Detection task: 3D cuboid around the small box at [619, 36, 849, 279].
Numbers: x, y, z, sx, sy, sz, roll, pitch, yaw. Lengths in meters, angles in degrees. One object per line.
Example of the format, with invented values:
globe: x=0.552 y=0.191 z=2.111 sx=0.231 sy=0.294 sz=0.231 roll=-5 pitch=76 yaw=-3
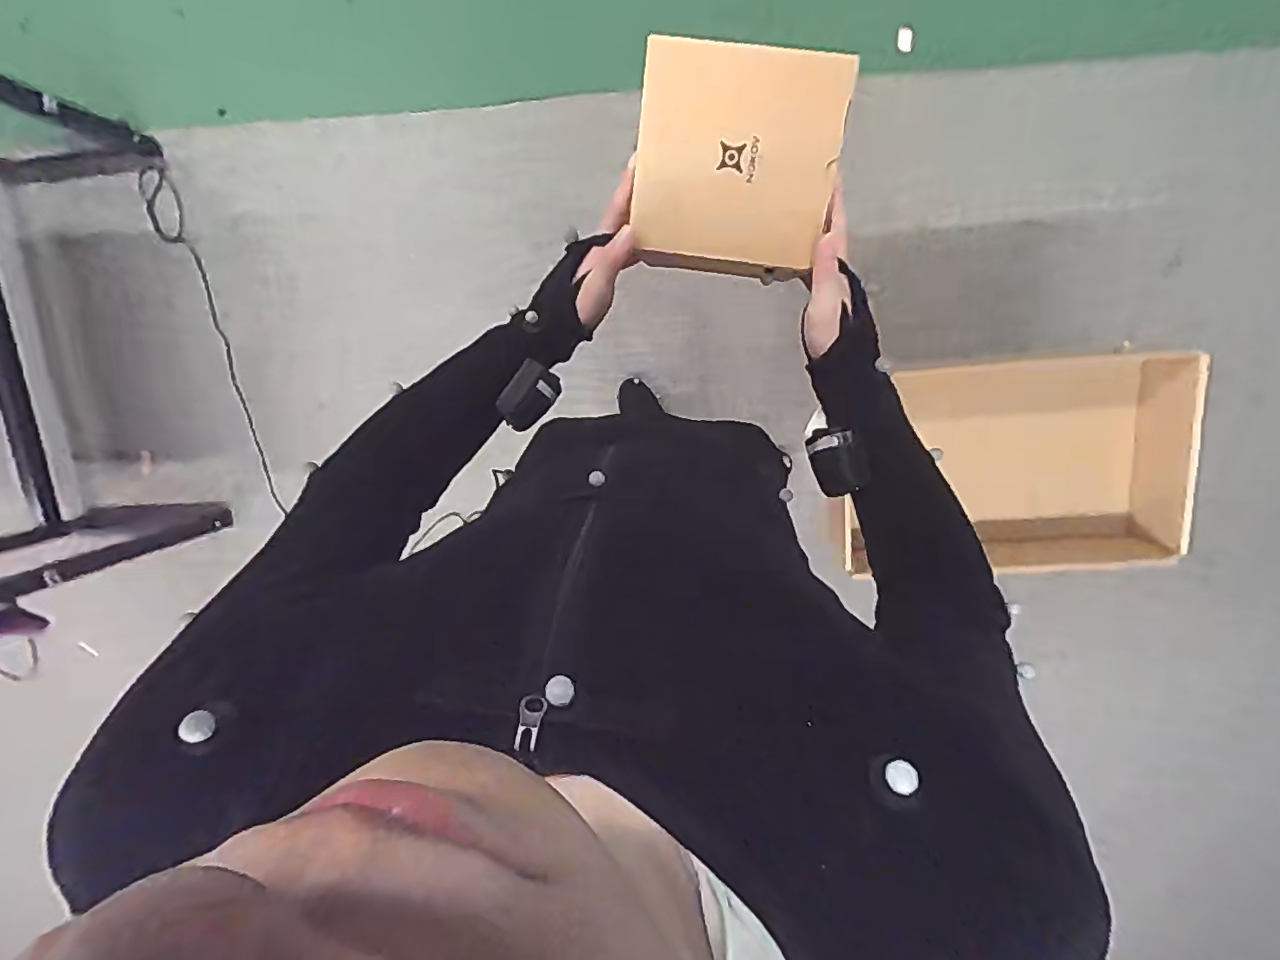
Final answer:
small box: x=0.081 y=-0.298 z=0.538 sx=0.179 sy=0.176 sz=0.168 roll=7 pitch=107 yaw=2
